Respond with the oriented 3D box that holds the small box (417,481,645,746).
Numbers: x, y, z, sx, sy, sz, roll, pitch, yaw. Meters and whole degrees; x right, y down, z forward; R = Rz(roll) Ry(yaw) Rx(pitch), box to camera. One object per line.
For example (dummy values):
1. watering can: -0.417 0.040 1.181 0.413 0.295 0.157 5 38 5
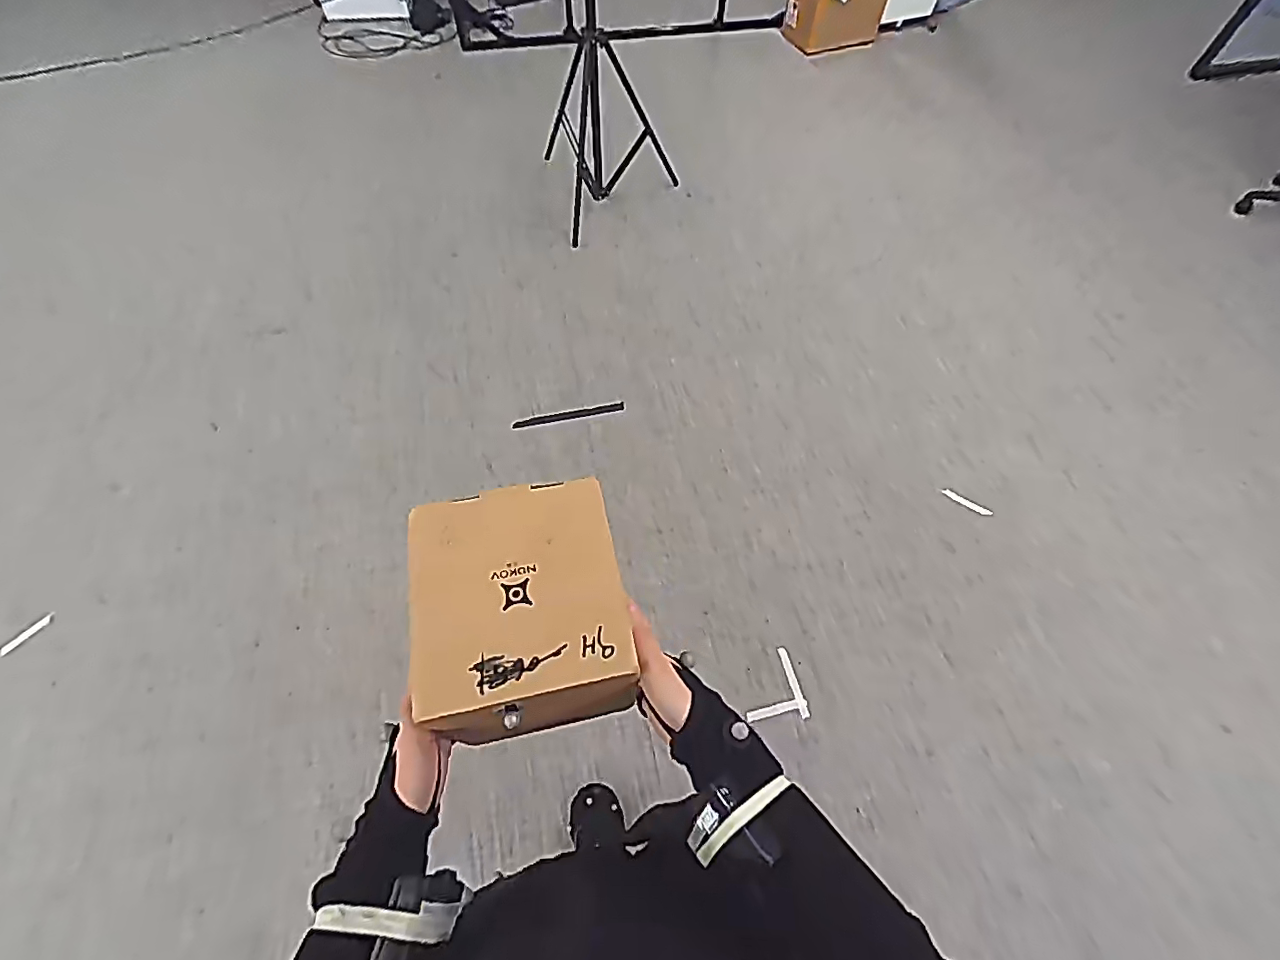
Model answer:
1. small box: -0.097 0.127 0.499 0.168 0.176 0.179 -10 59 -9
